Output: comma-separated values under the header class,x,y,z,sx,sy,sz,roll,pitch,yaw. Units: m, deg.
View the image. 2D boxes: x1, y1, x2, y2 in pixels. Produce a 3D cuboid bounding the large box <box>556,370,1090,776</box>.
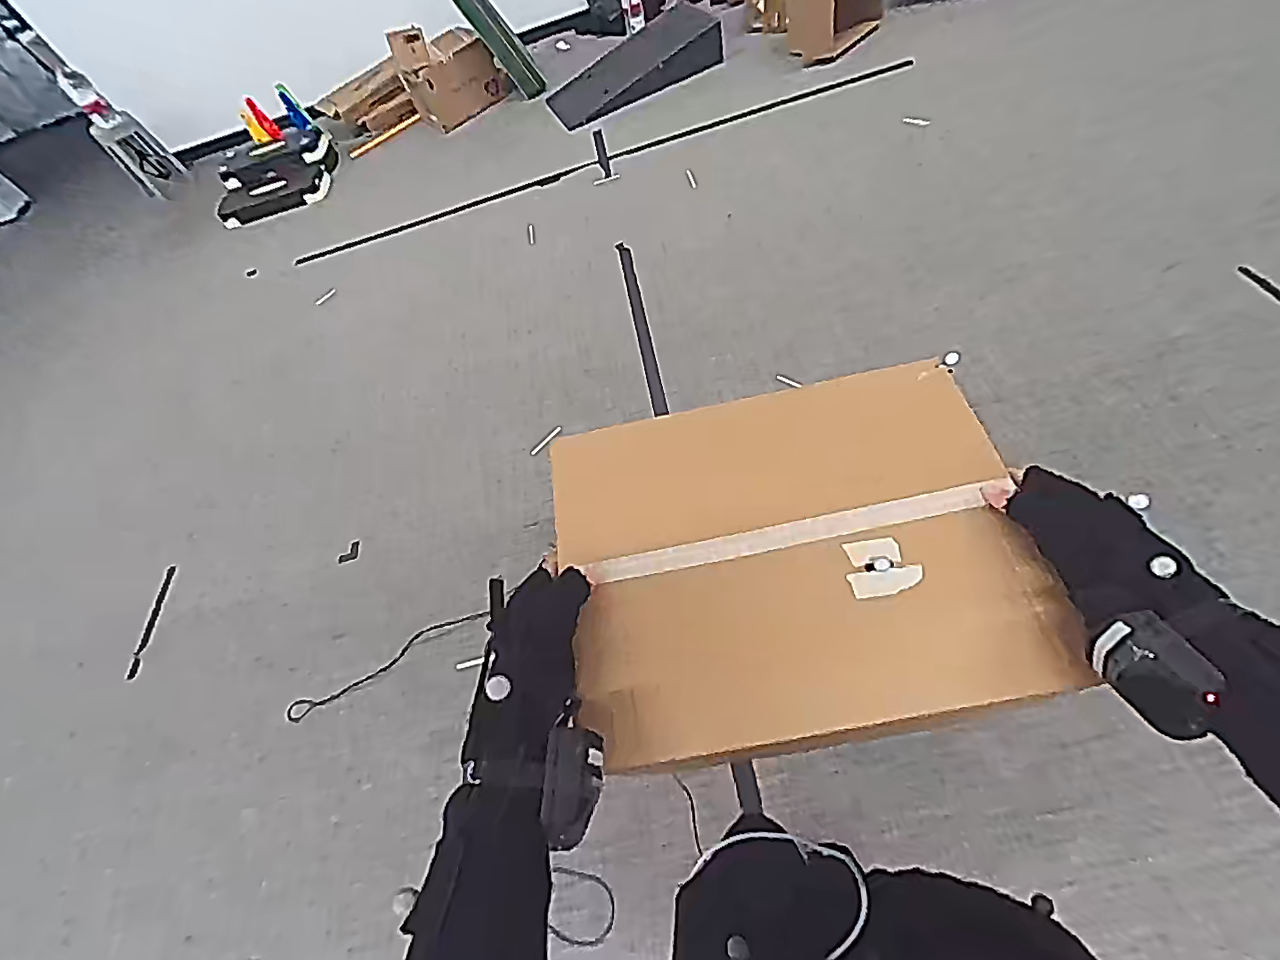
class,x,y,z,sx,sy,sz,roll,pitch,yaw
large box,0.147,0.128,0.620,0.408,0.320,0.320,-12,60,2
